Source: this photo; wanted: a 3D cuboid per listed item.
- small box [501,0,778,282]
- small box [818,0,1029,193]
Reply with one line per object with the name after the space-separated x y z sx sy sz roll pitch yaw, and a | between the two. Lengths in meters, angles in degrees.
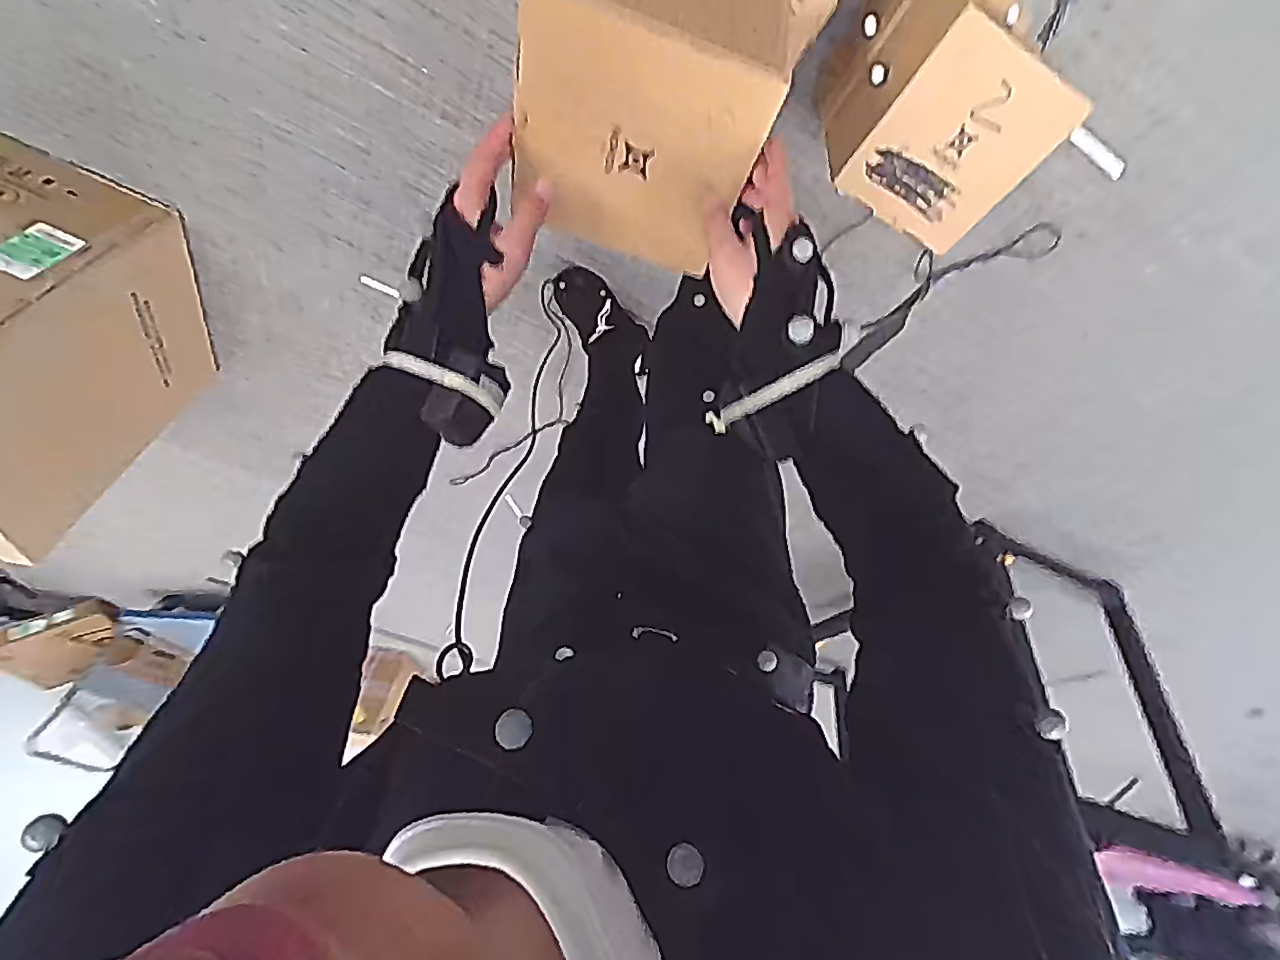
-0.002 -0.299 0.432 0.179 0.176 0.168 15 152 -8 | small box
0.350 -0.530 0.708 0.168 0.176 0.179 23 141 -15 | small box
